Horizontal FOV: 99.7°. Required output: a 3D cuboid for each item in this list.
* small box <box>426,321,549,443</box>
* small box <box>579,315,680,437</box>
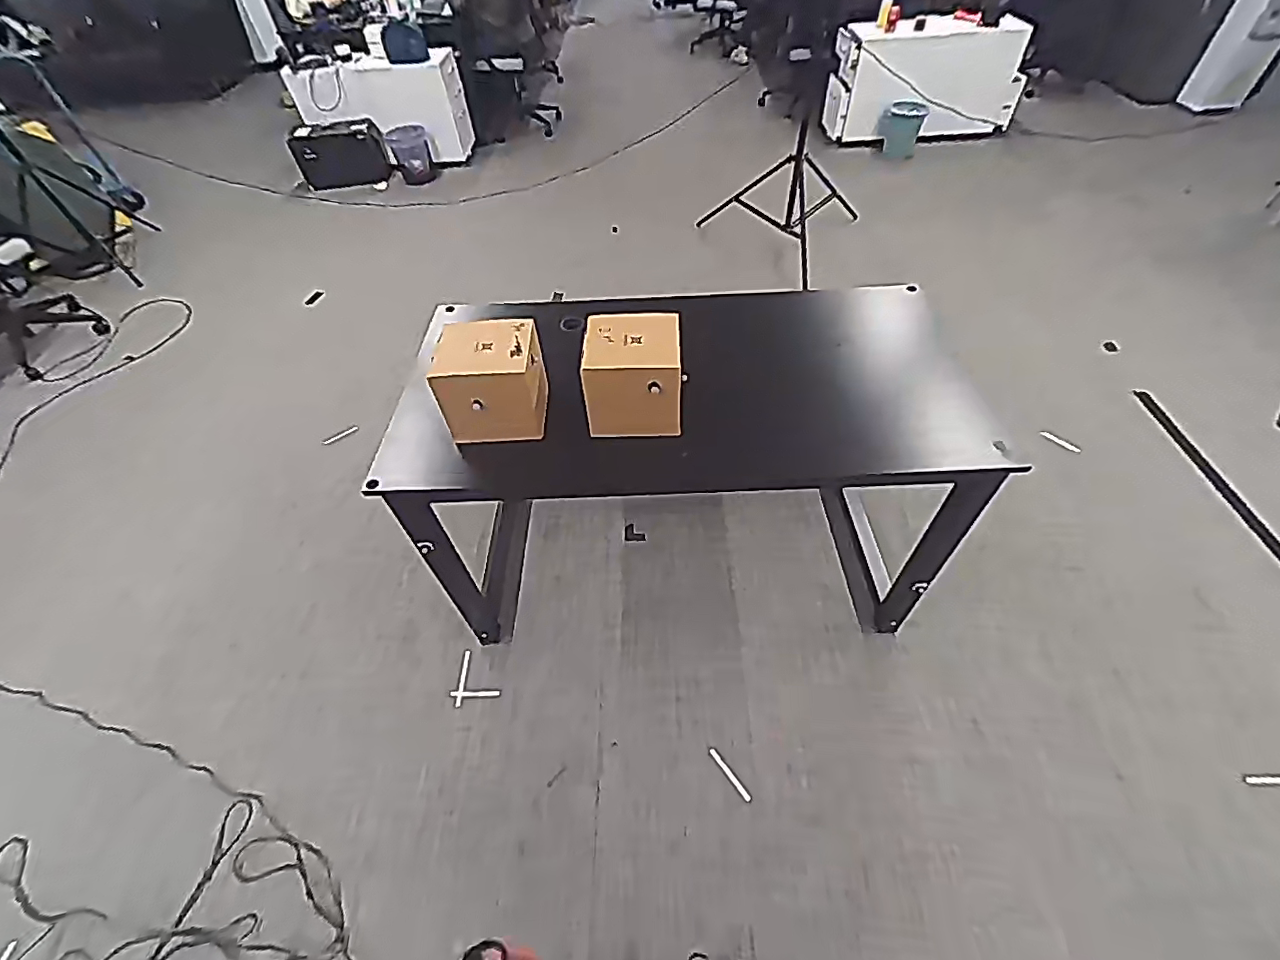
[{"bbox_3d":[-0.286,-0.186,1.053,0.179,0.176,0.168,-4,50,1],"label":"small box"},{"bbox_3d":[-0.013,-0.197,1.042,0.179,0.176,0.168,-1,50,3],"label":"small box"}]
